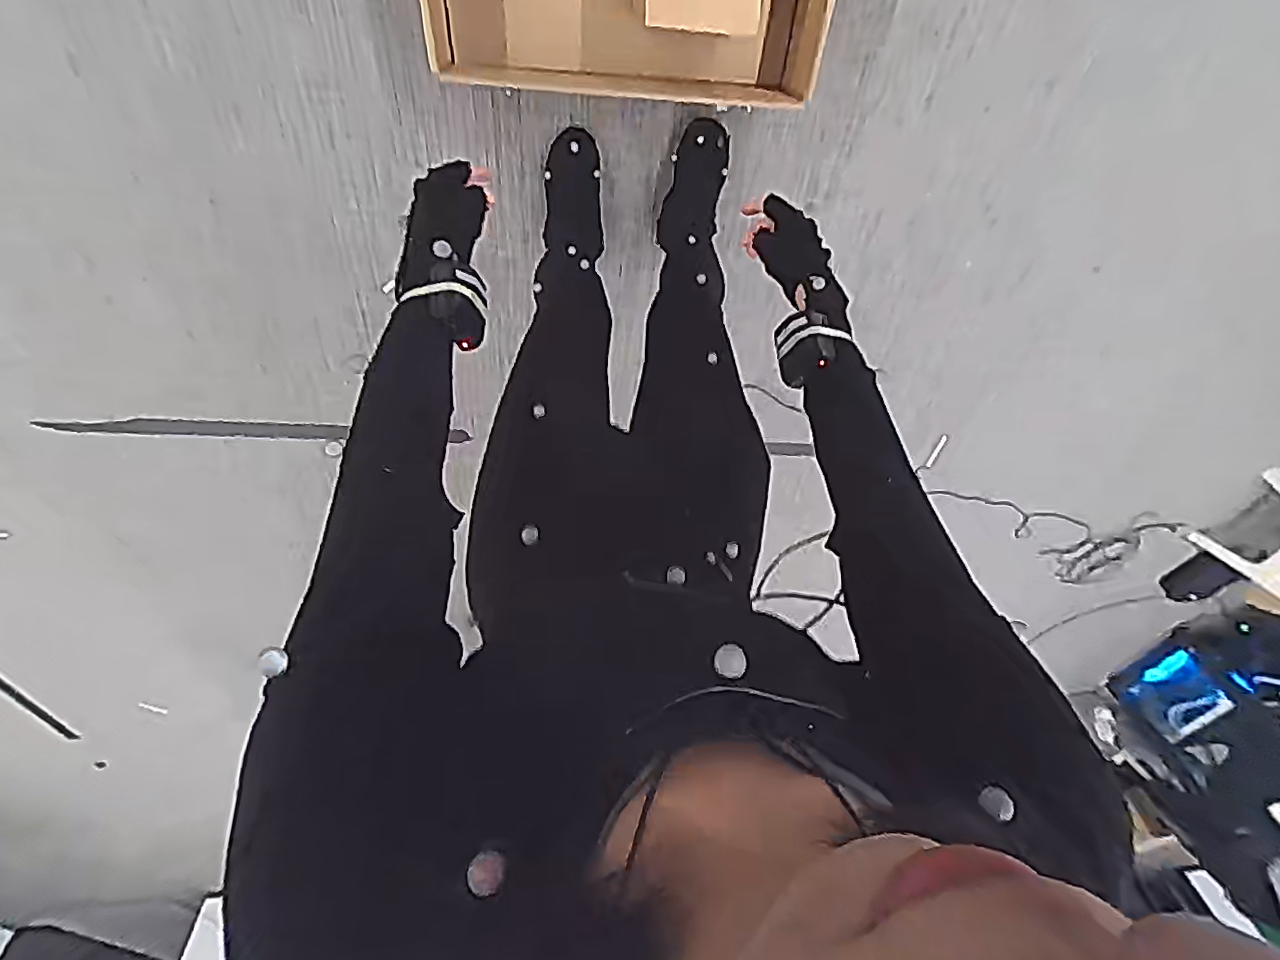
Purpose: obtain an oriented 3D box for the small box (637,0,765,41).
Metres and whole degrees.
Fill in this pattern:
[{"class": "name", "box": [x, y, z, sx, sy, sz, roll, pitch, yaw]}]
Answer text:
[{"class": "small box", "box": [0.094, -0.784, 0.819, 0.179, 0.176, 0.168, 0, 131, -6]}]
